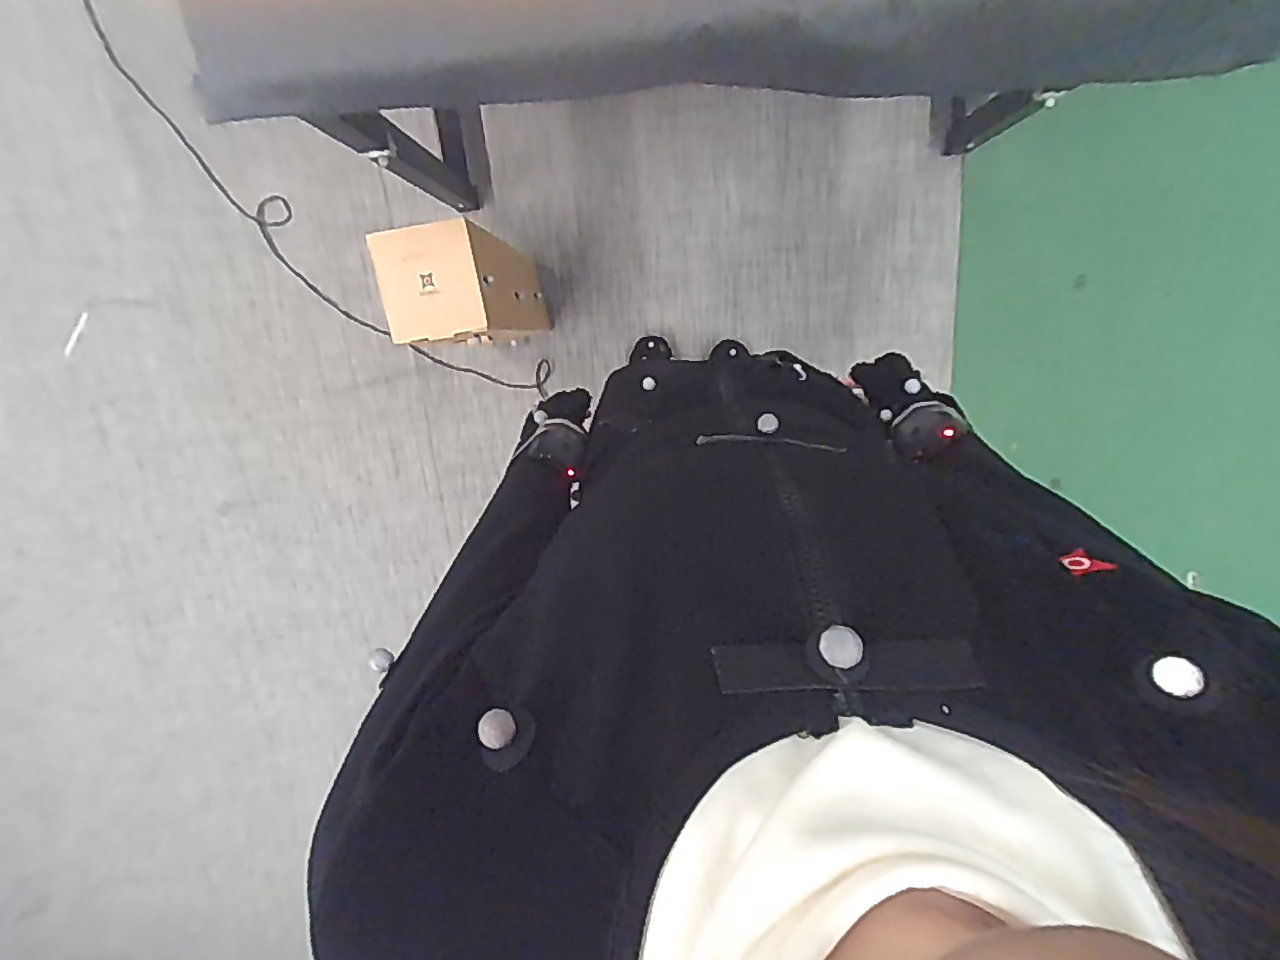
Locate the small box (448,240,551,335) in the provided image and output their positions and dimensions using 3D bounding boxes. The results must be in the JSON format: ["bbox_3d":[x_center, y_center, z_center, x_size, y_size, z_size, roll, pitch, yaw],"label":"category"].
[{"bbox_3d":[-0.318,-0.440,1.260,0.168,0.176,0.179,-11,105,6],"label":"small box"}]
